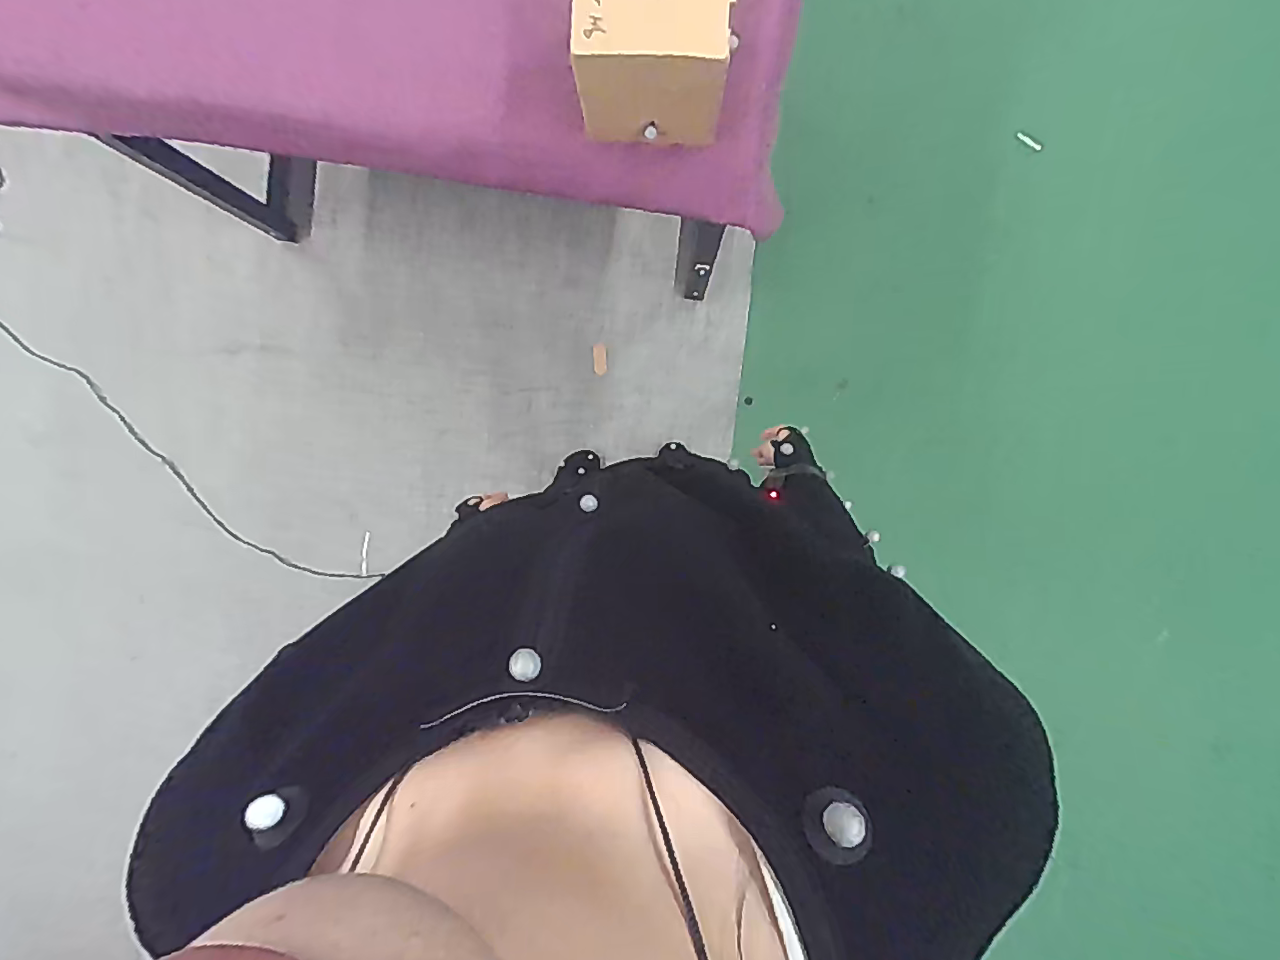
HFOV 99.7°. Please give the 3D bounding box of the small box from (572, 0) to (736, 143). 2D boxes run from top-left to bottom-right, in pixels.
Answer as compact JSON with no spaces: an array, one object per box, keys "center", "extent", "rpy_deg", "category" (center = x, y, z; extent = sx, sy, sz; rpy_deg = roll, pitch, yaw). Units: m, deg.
[{"center":[0.020,-0.541,0.661],"extent":[0.179,0.176,0.168],"rpy_deg":[4,93,2],"category":"small box"}]
